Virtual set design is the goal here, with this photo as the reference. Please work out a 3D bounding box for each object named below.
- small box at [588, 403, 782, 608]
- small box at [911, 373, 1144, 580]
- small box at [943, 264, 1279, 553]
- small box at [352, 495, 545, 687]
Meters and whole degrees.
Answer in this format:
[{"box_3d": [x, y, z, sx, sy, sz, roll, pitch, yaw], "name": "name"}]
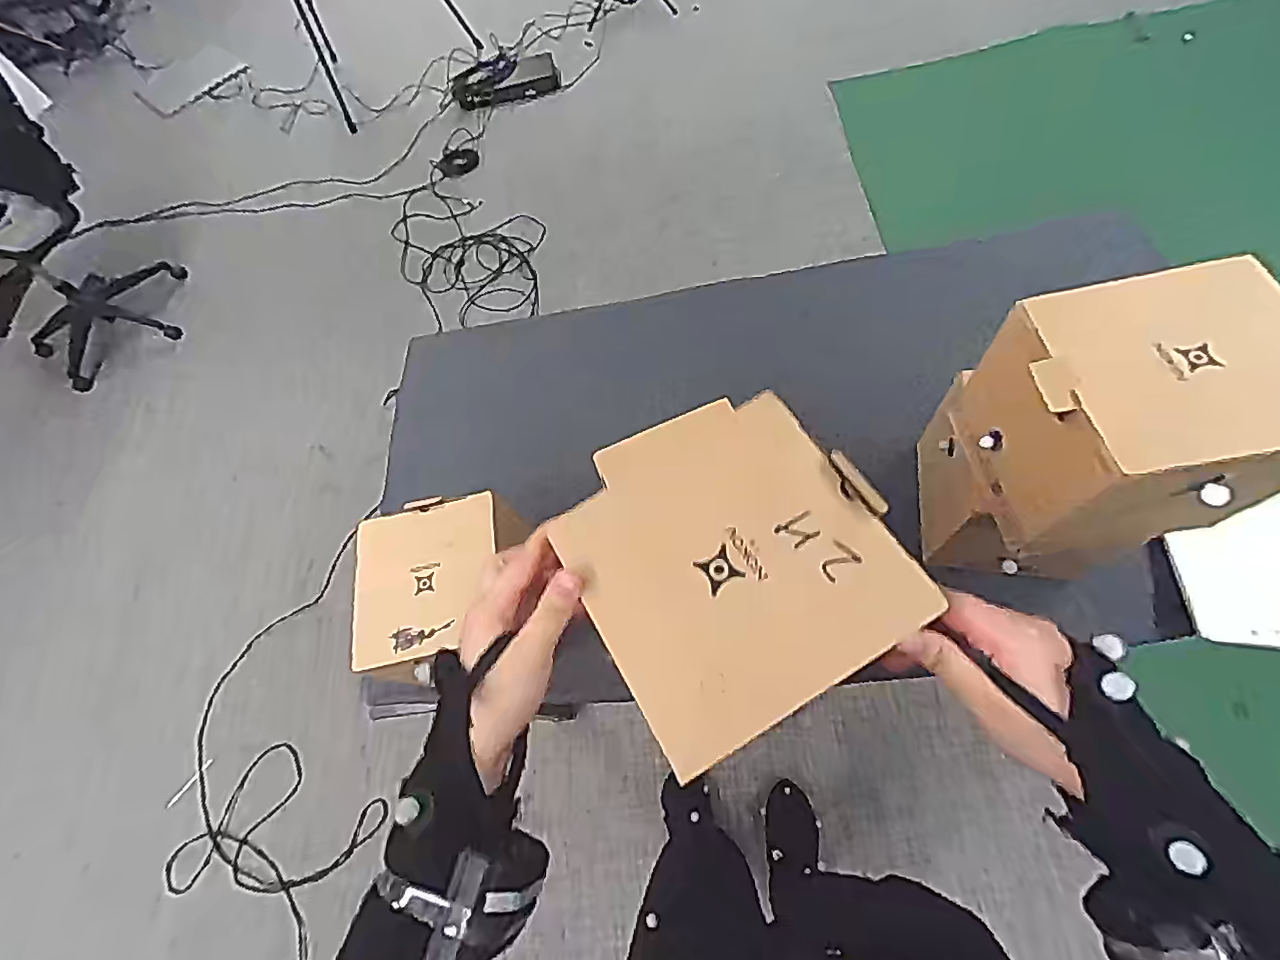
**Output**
[{"box_3d": [0.058, 0.041, 0.676, 0.179, 0.176, 0.168, -24, 63, -2], "name": "small box"}, {"box_3d": [0.424, 0.000, 0.625, 0.168, 0.176, 0.179, 5, 65, 13], "name": "small box"}, {"box_3d": [0.403, -0.049, 0.469, 0.179, 0.176, 0.168, -11, 62, 6], "name": "small box"}, {"box_3d": [-0.227, 0.145, 0.675, 0.168, 0.176, 0.179, -14, 63, 3], "name": "small box"}]
